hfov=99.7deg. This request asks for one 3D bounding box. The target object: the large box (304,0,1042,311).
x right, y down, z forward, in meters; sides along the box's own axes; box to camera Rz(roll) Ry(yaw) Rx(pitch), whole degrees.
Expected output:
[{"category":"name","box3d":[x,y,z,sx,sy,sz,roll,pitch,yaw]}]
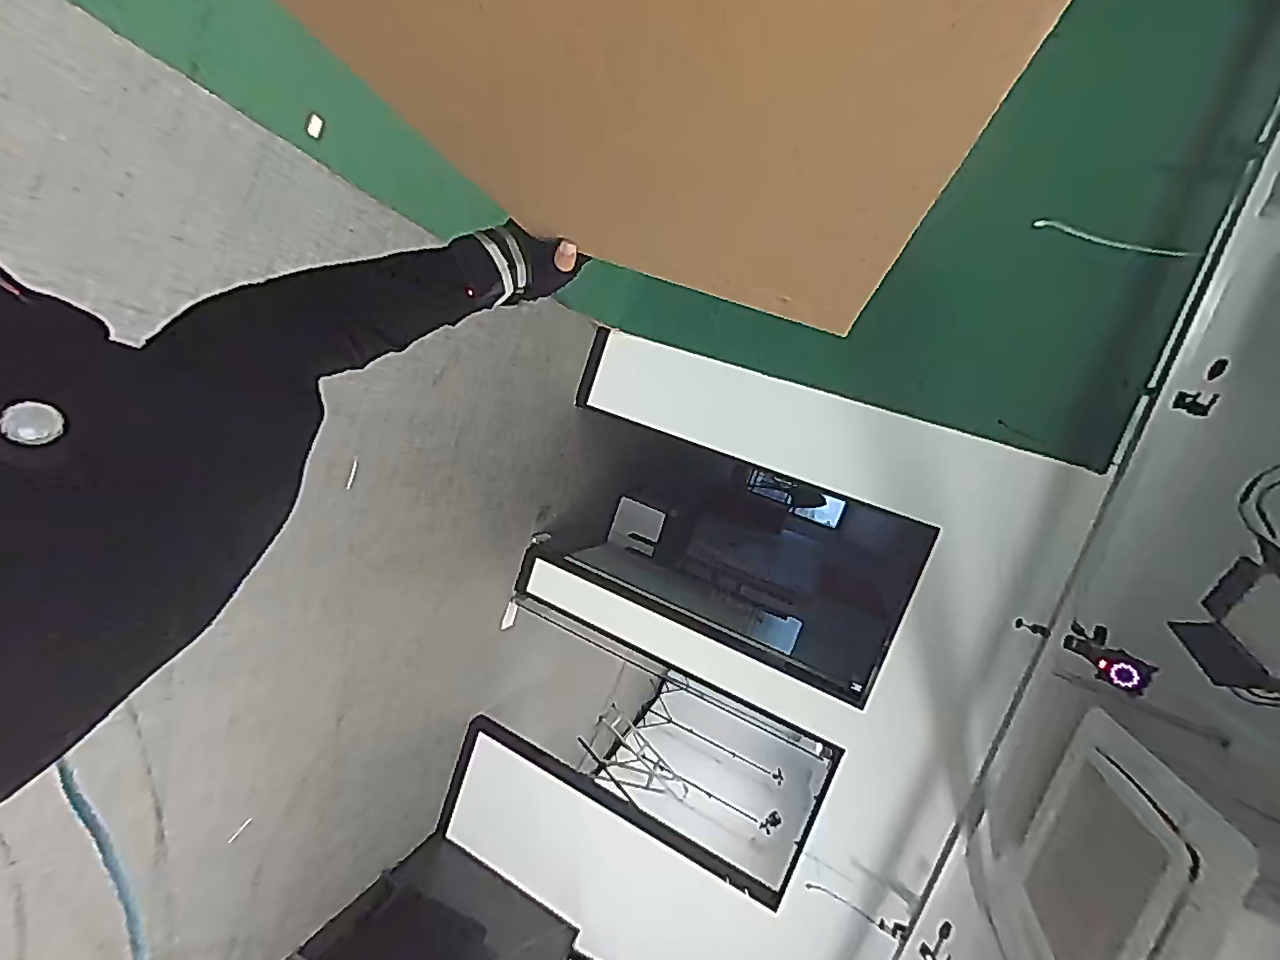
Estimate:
[{"category":"large box","box3d":[0.044,-0.324,0.294,0.408,0.320,0.320,-19,130,-77]}]
